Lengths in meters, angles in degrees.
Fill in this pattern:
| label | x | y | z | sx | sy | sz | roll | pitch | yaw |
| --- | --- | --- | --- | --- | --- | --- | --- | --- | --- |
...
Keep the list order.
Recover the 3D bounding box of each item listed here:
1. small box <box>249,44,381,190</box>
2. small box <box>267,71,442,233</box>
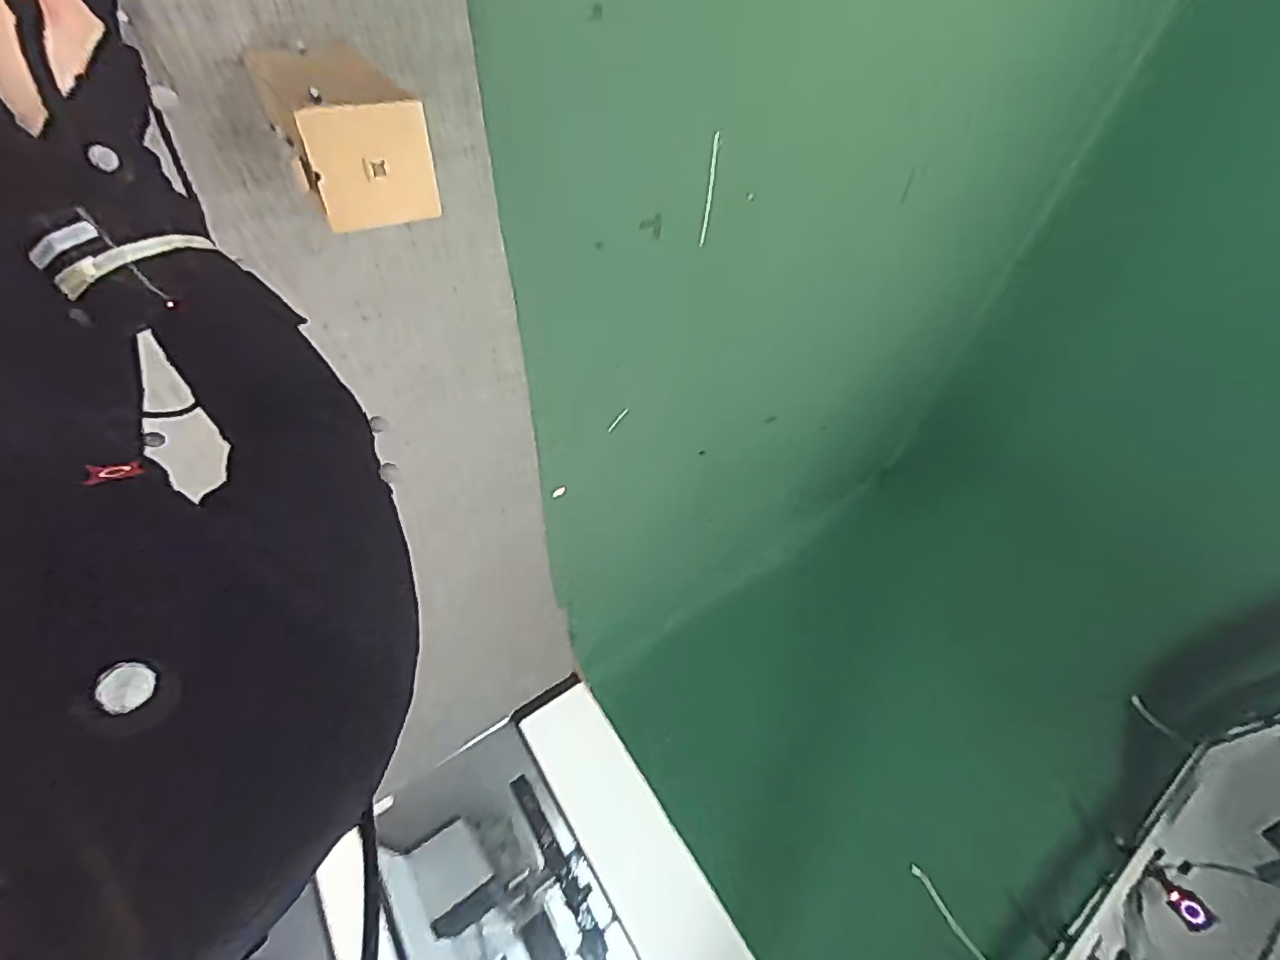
| label | x | y | z | sx | sy | sz | roll | pitch | yaw |
| --- | --- | --- | --- | --- | --- | --- | --- | --- | --- |
| small box | -0.531 | -0.618 | 0.918 | 0.179 | 0.176 | 0.168 | -25 | 146 | -23 |
| small box | -0.436 | -0.512 | 0.837 | 0.179 | 0.176 | 0.168 | -25 | 146 | -25 |
